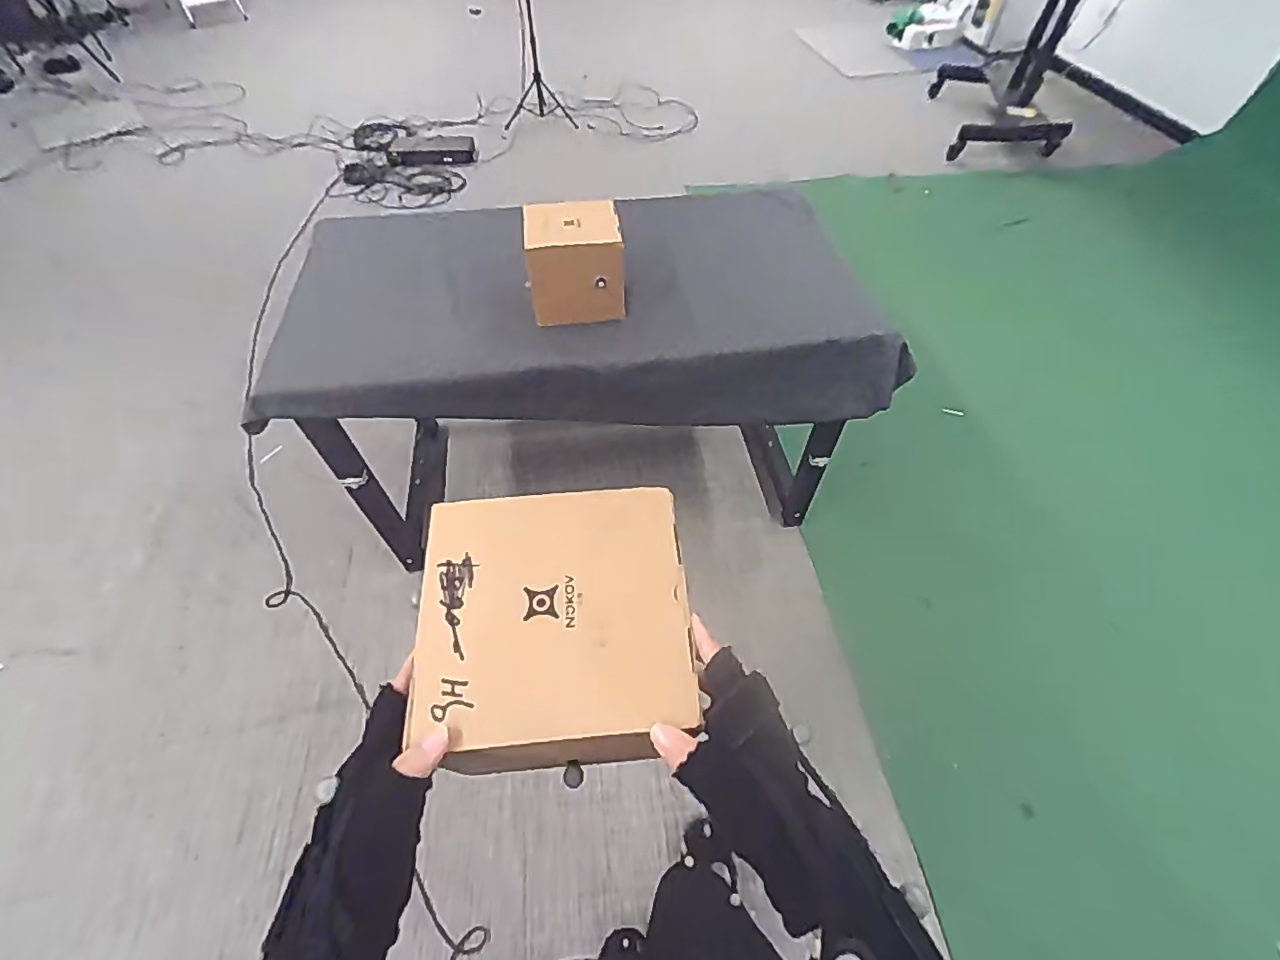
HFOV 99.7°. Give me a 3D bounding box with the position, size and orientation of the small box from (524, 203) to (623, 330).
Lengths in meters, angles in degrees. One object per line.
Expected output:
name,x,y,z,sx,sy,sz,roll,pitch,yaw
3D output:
small box,-0.128,-0.420,1.073,0.179,0.176,0.168,-8,52,-4
